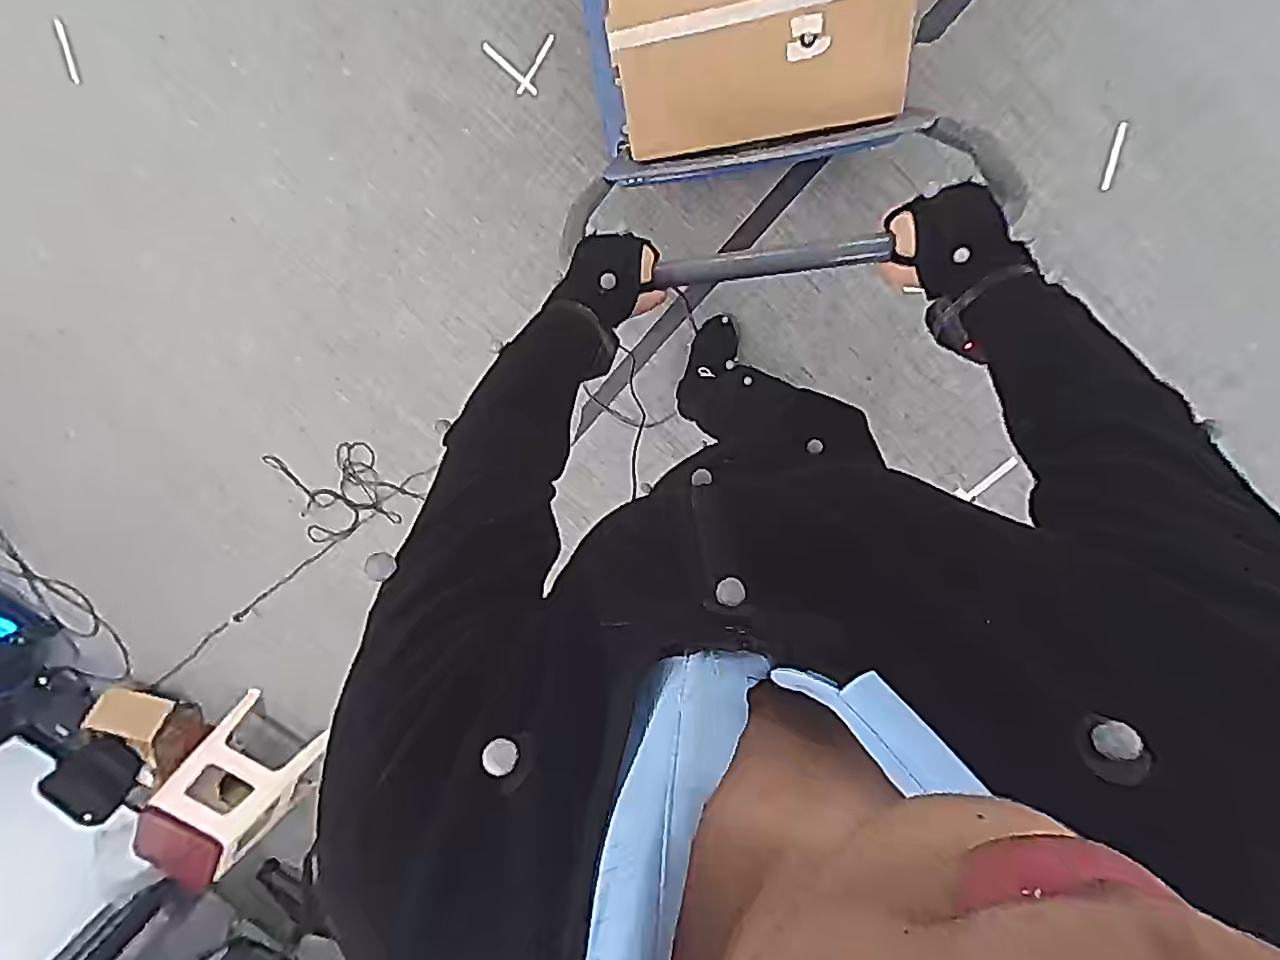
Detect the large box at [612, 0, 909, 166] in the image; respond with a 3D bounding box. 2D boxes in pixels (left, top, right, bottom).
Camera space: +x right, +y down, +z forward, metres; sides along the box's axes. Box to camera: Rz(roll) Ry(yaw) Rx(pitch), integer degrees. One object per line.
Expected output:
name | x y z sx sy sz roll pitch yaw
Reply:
large box | 0.180 -0.735 0.873 0.408 0.320 0.320 -5 125 11
